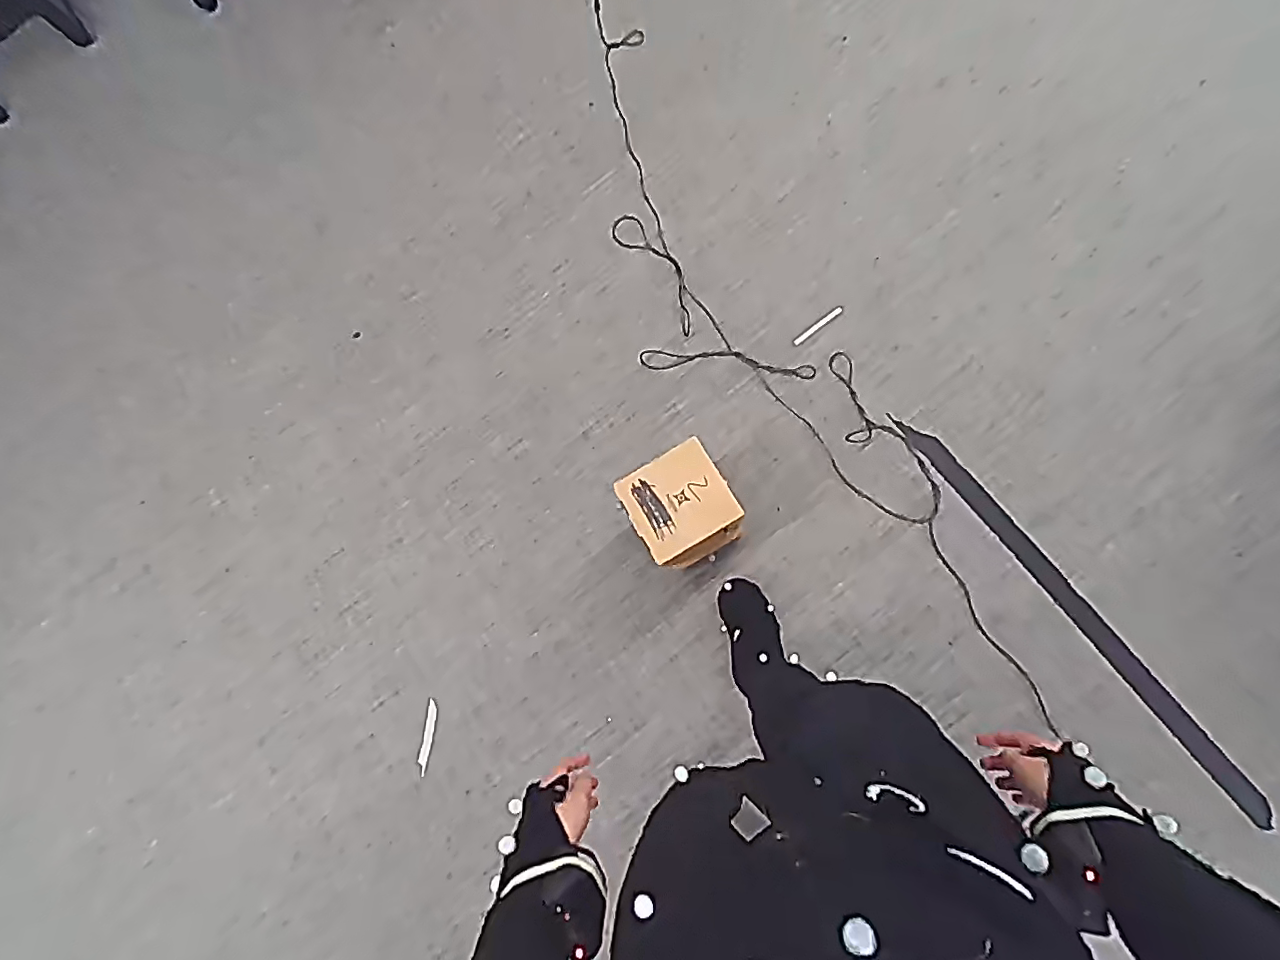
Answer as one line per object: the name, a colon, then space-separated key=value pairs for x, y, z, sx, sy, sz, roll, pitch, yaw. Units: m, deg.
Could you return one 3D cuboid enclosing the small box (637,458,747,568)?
small box: x=0.112 y=0.078 z=1.167 sx=0.168 sy=0.176 sz=0.179 roll=-31 pitch=79 yaw=3
